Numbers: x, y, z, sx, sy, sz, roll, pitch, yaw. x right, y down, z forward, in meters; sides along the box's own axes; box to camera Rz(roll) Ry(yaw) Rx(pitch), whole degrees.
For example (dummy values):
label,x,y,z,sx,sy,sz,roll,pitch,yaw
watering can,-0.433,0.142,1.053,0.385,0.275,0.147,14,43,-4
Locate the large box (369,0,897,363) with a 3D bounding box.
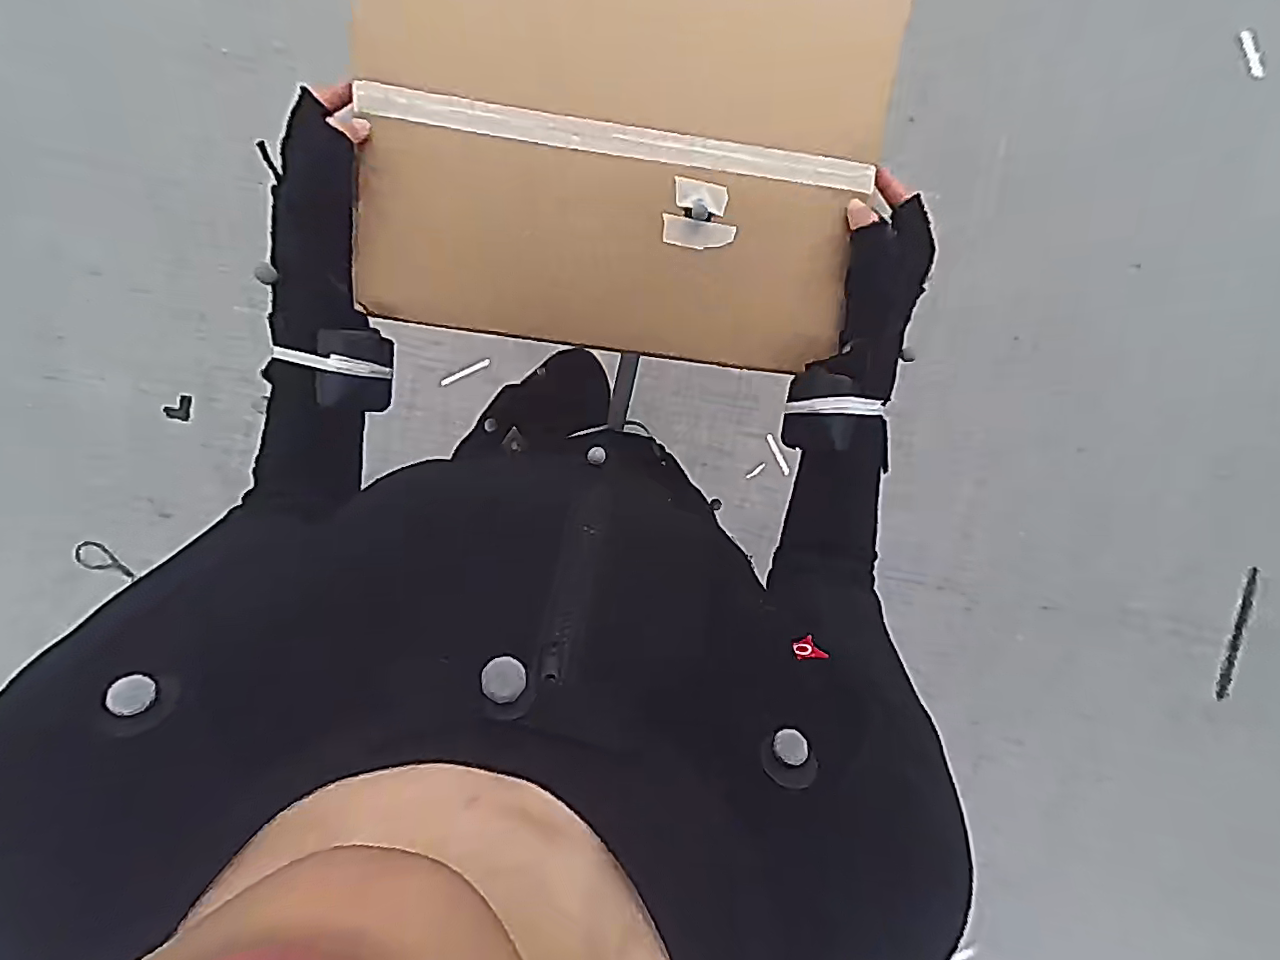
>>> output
label,x,y,z,sx,sy,sz,roll,pitch,yaw
large box,-0.022,-0.307,0.575,0.408,0.320,0.320,6,105,-5
